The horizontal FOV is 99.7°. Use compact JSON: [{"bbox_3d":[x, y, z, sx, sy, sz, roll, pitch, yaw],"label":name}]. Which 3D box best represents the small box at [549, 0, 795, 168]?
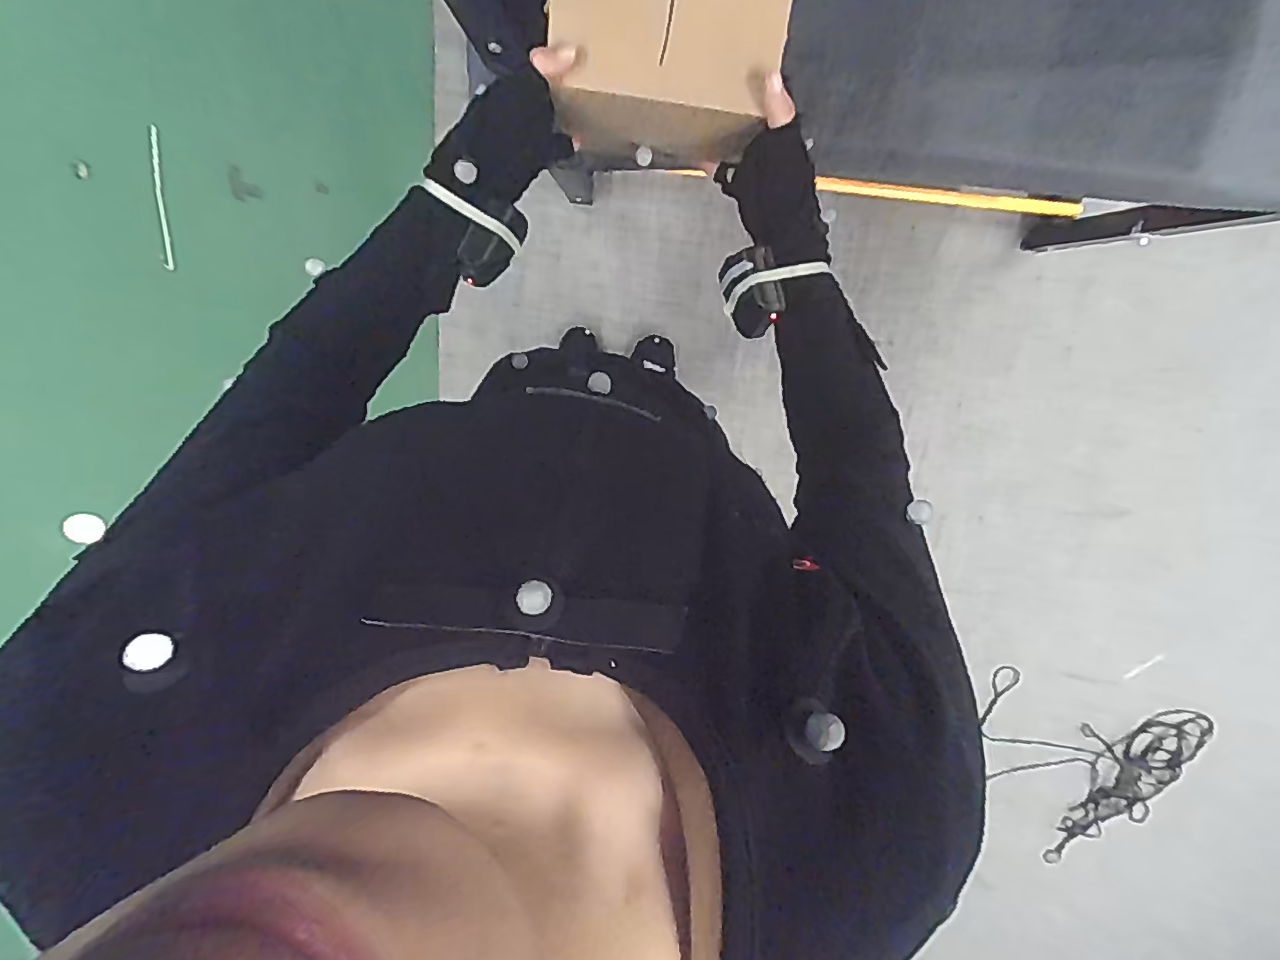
[{"bbox_3d":[0.024,-0.377,0.434,0.168,0.176,0.179,6,108,-4],"label":"small box"}]
